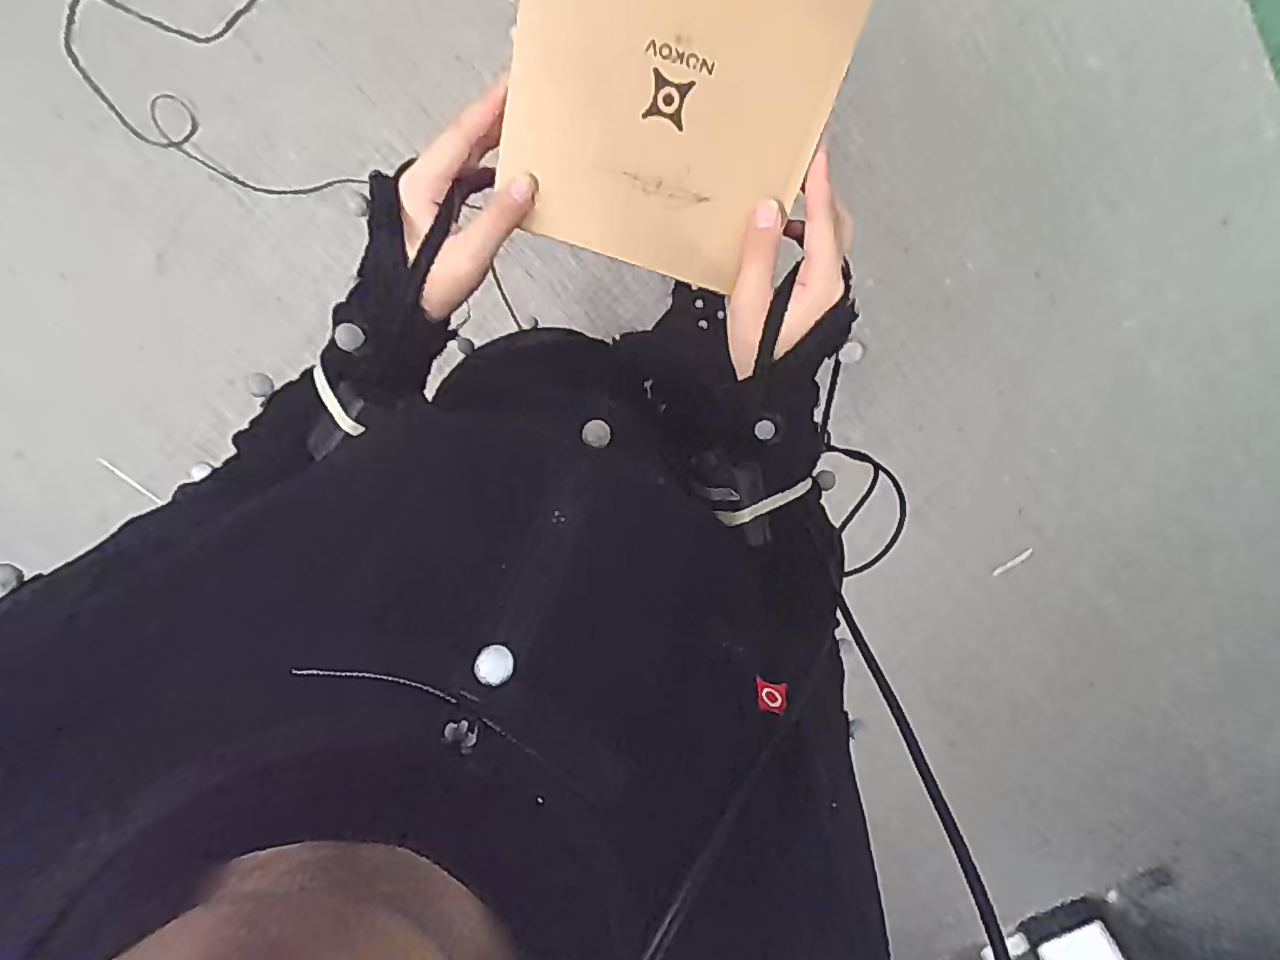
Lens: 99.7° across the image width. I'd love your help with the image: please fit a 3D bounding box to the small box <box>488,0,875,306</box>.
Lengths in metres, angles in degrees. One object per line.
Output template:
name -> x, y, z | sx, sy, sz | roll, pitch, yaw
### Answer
small box -> 0.019, -0.235, 0.342 | 0.168, 0.176, 0.179 | 16, 120, -4
